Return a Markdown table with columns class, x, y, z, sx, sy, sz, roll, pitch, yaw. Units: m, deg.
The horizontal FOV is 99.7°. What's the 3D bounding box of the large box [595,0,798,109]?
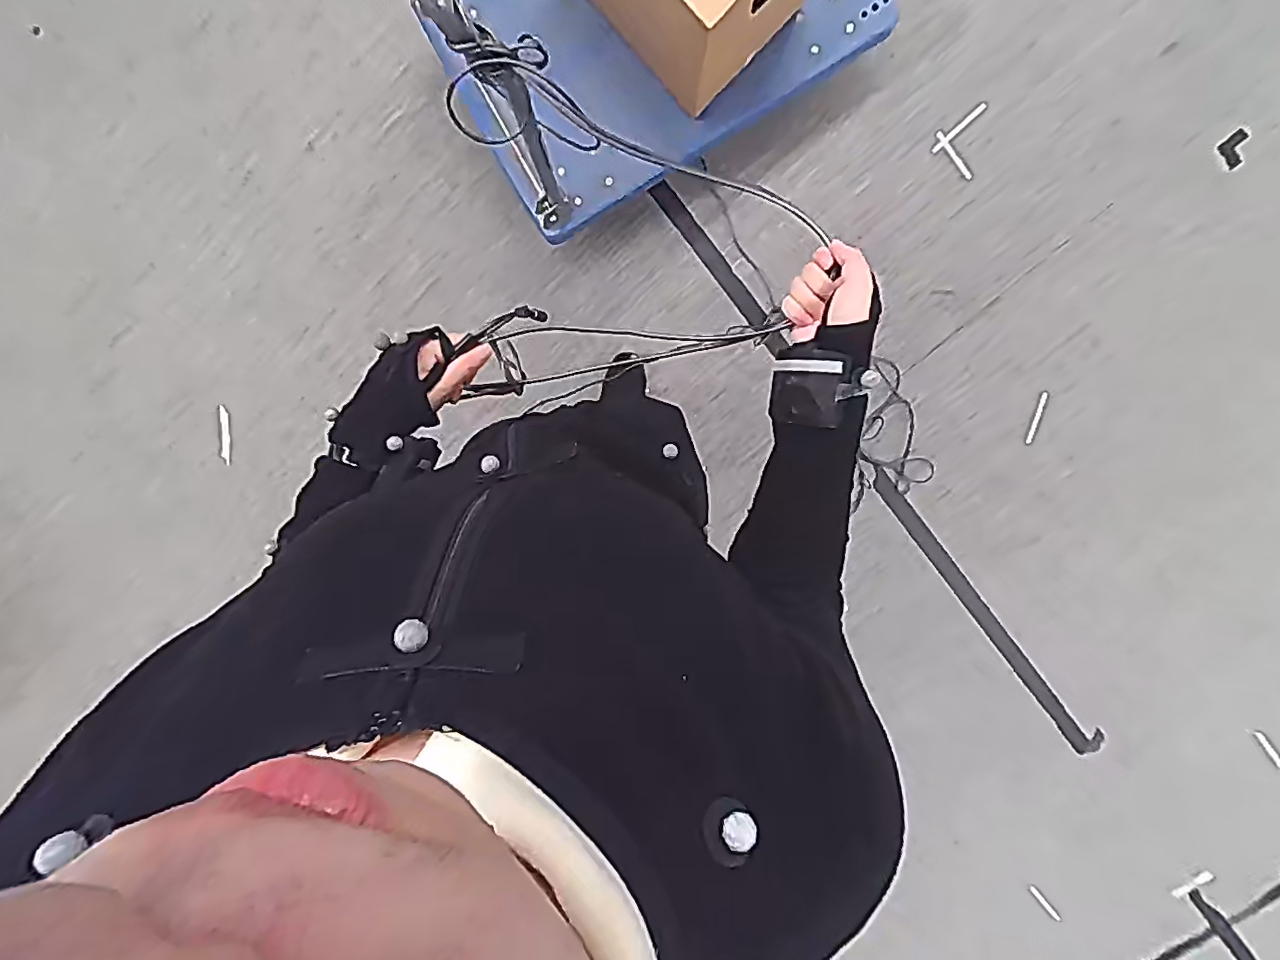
| class | x | y | z | sx | sy | sz | roll | pitch | yaw |
| --- | --- | --- | --- | --- | --- | --- | --- | --- | --- |
| large box | 0.083 | -0.987 | 0.949 | 0.408 | 0.320 | 0.320 | 44 | 100 | -8 |
